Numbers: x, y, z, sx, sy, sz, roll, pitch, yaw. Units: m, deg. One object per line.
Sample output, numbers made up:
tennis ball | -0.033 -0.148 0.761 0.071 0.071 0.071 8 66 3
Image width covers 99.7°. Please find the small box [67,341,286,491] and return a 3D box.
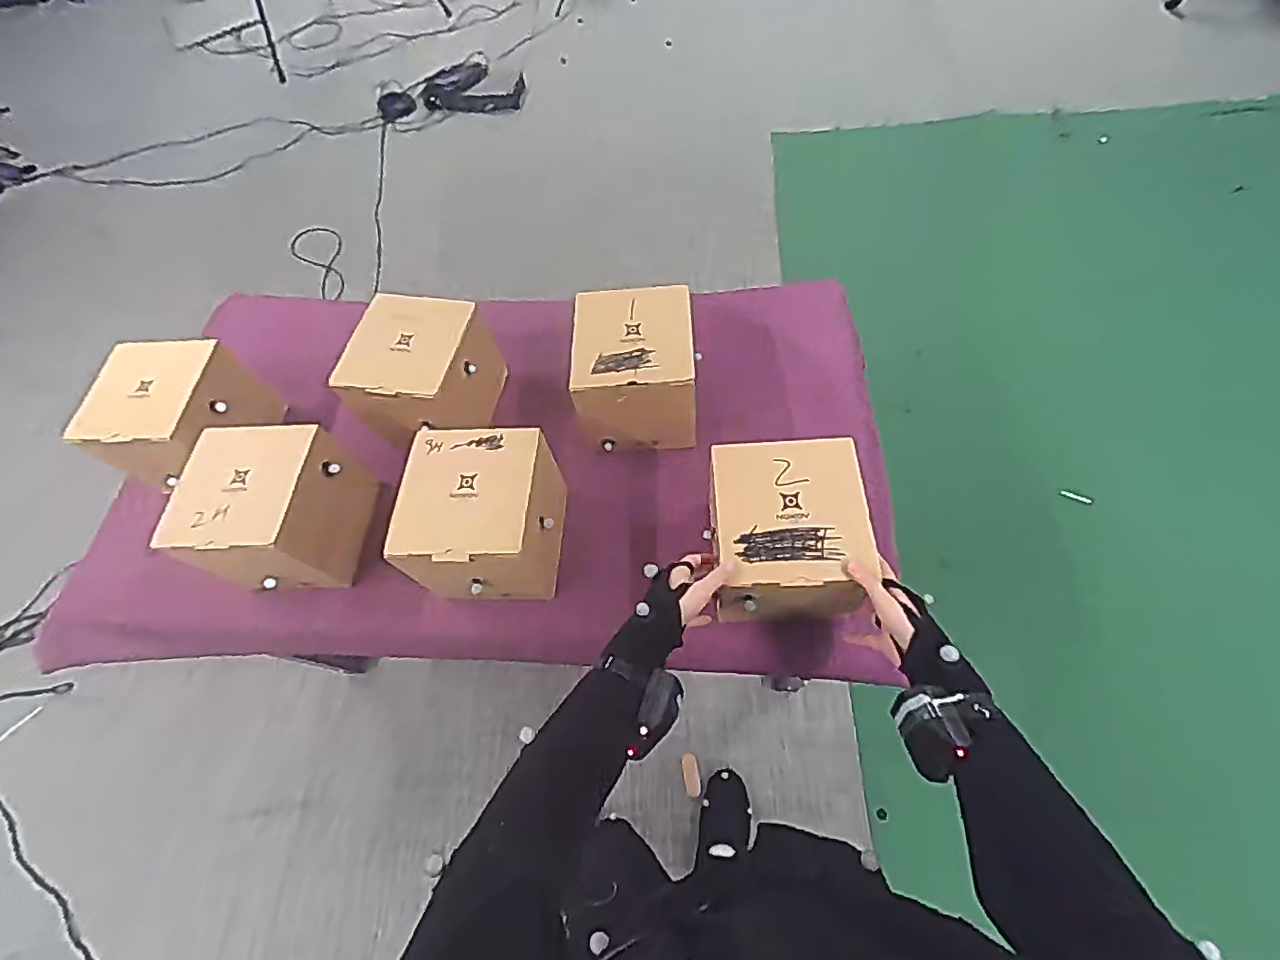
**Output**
small box | -0.700 -0.095 0.846 0.168 0.176 0.179 -1 63 5

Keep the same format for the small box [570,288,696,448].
small box | -0.002 -0.157 0.806 0.168 0.176 0.179 -2 61 5

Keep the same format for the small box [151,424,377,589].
small box | -0.498 0.040 0.751 0.168 0.176 0.179 -1 62 6

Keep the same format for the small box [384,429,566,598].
small box | -0.201 0.051 0.716 0.168 0.176 0.179 0 61 6
